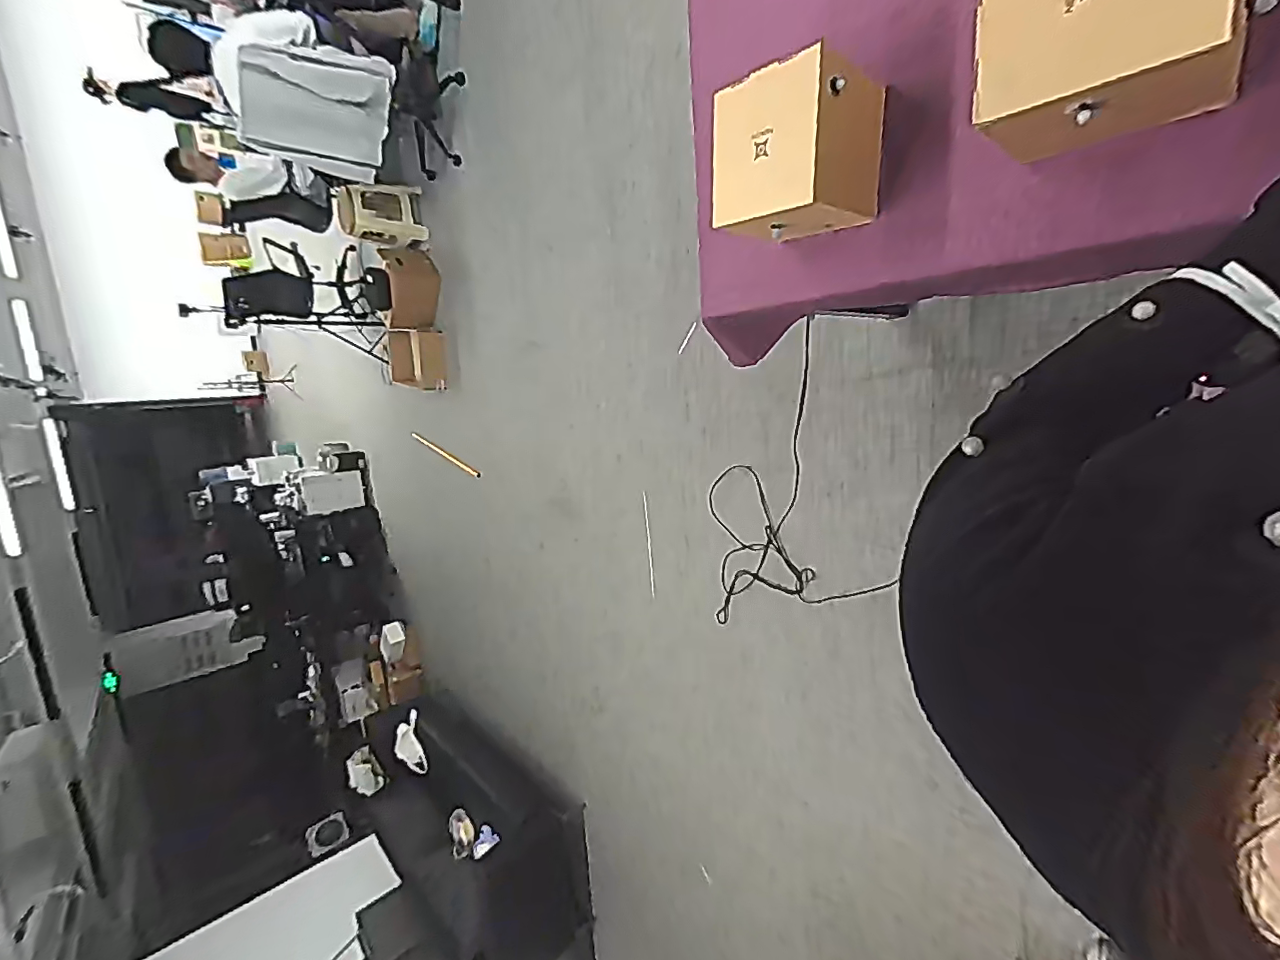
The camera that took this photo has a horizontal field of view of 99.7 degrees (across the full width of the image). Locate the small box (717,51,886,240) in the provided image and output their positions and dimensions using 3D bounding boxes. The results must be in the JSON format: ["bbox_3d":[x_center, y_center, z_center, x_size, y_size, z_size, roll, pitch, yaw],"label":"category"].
[{"bbox_3d":[0.227,-0.449,0.765,0.168,0.176,0.179,13,107,48],"label":"small box"}]

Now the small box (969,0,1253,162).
[{"bbox_3d":[0.445,-0.427,0.512,0.179,0.176,0.168,11,107,48],"label":"small box"}]
